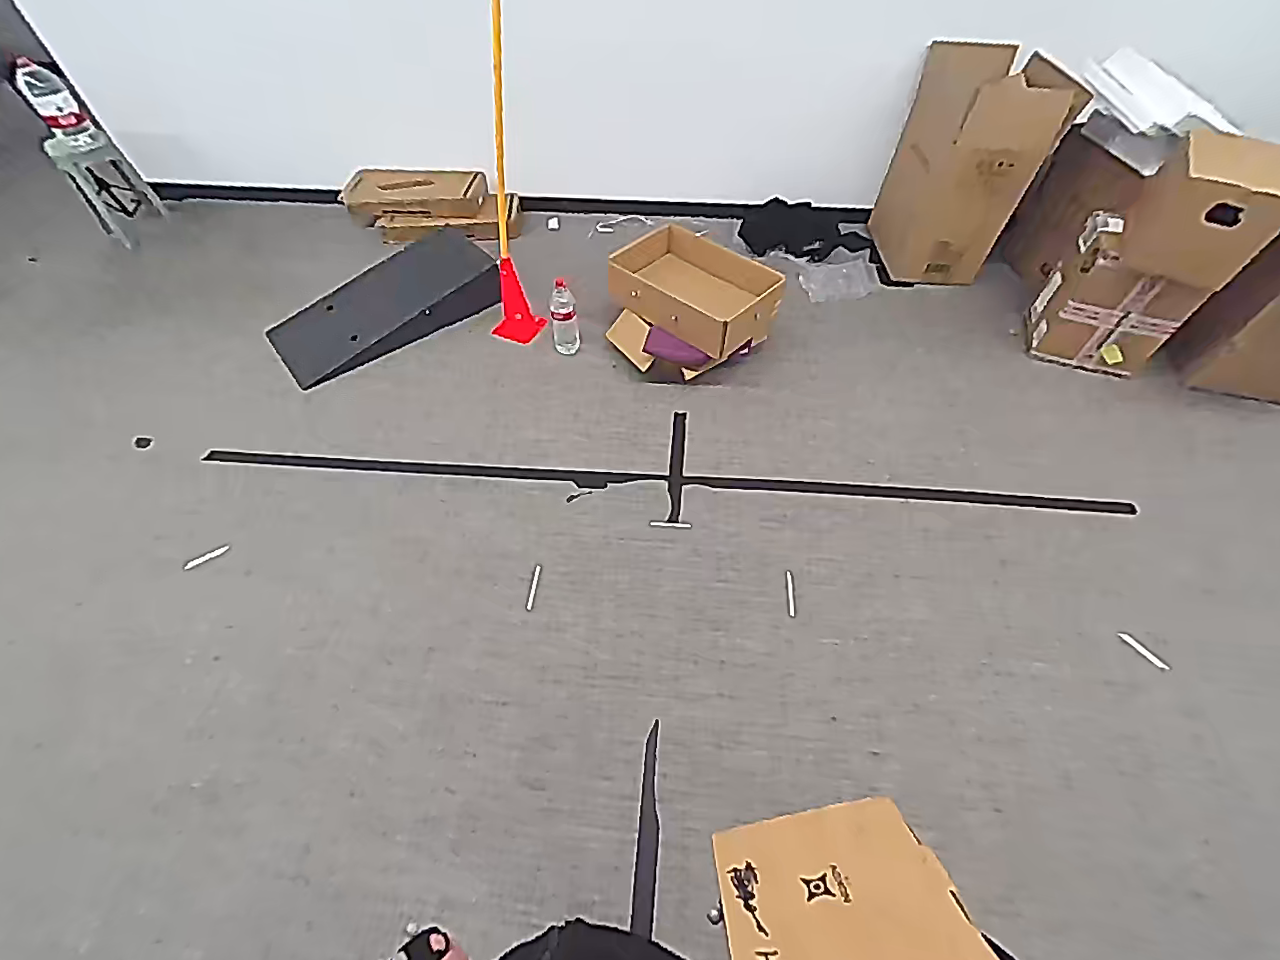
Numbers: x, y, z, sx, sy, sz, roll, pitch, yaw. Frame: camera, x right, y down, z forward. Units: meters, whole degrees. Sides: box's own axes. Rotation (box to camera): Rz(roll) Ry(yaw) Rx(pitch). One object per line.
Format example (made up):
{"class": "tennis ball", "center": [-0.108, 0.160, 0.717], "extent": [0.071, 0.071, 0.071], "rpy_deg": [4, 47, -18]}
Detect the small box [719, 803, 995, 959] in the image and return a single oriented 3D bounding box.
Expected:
{"class": "small box", "center": [0.176, 0.416, 0.452], "extent": [0.179, 0.168, 0.176], "rpy_deg": [-13, 94, 2]}
